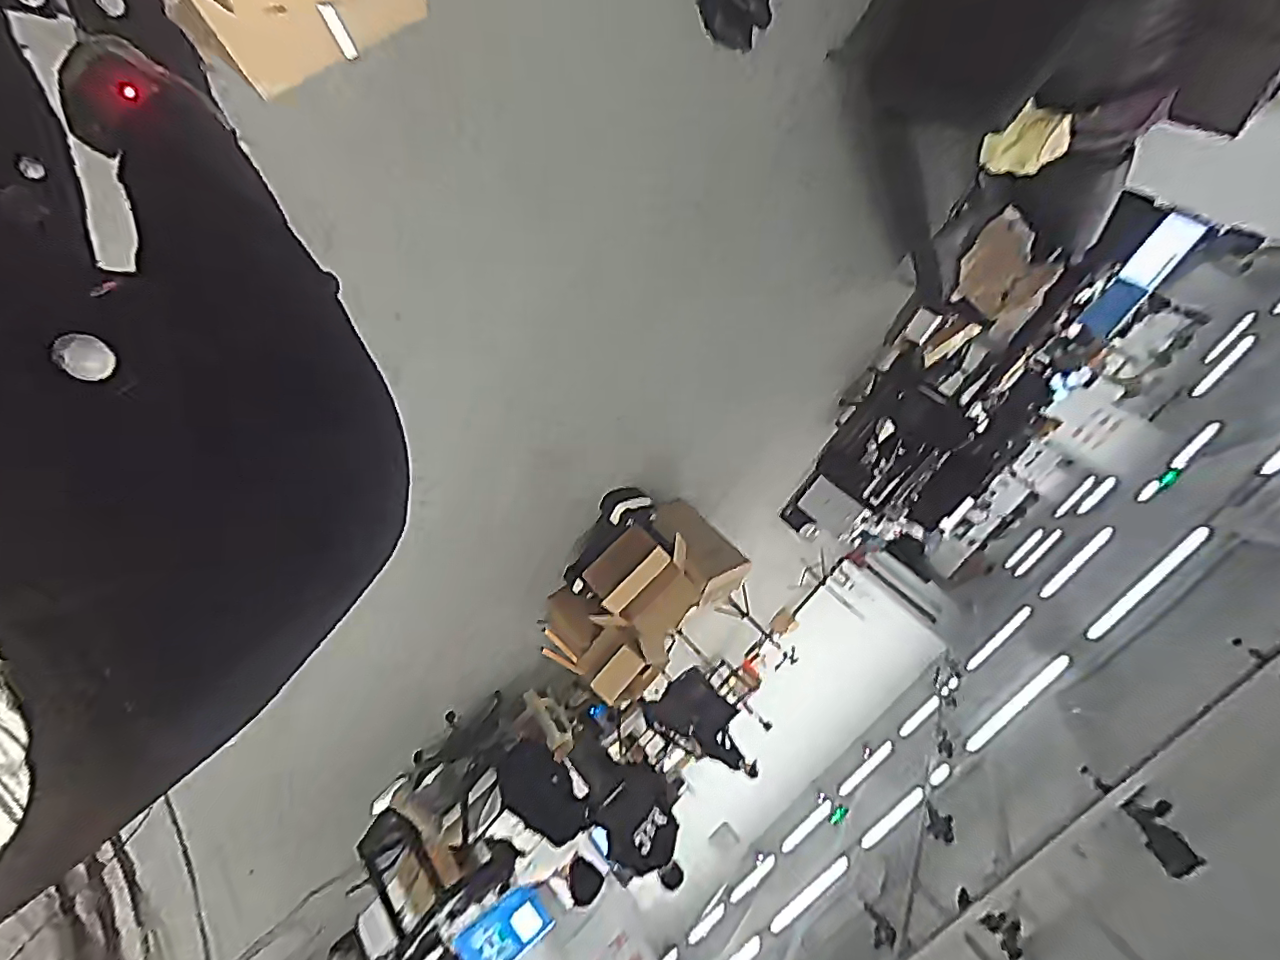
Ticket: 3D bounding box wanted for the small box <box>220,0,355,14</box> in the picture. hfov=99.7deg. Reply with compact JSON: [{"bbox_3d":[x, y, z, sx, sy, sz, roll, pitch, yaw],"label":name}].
[{"bbox_3d":[-0.466,-0.689,0.638,0.168,0.176,0.179,-34,149,-25],"label":"small box"}]
